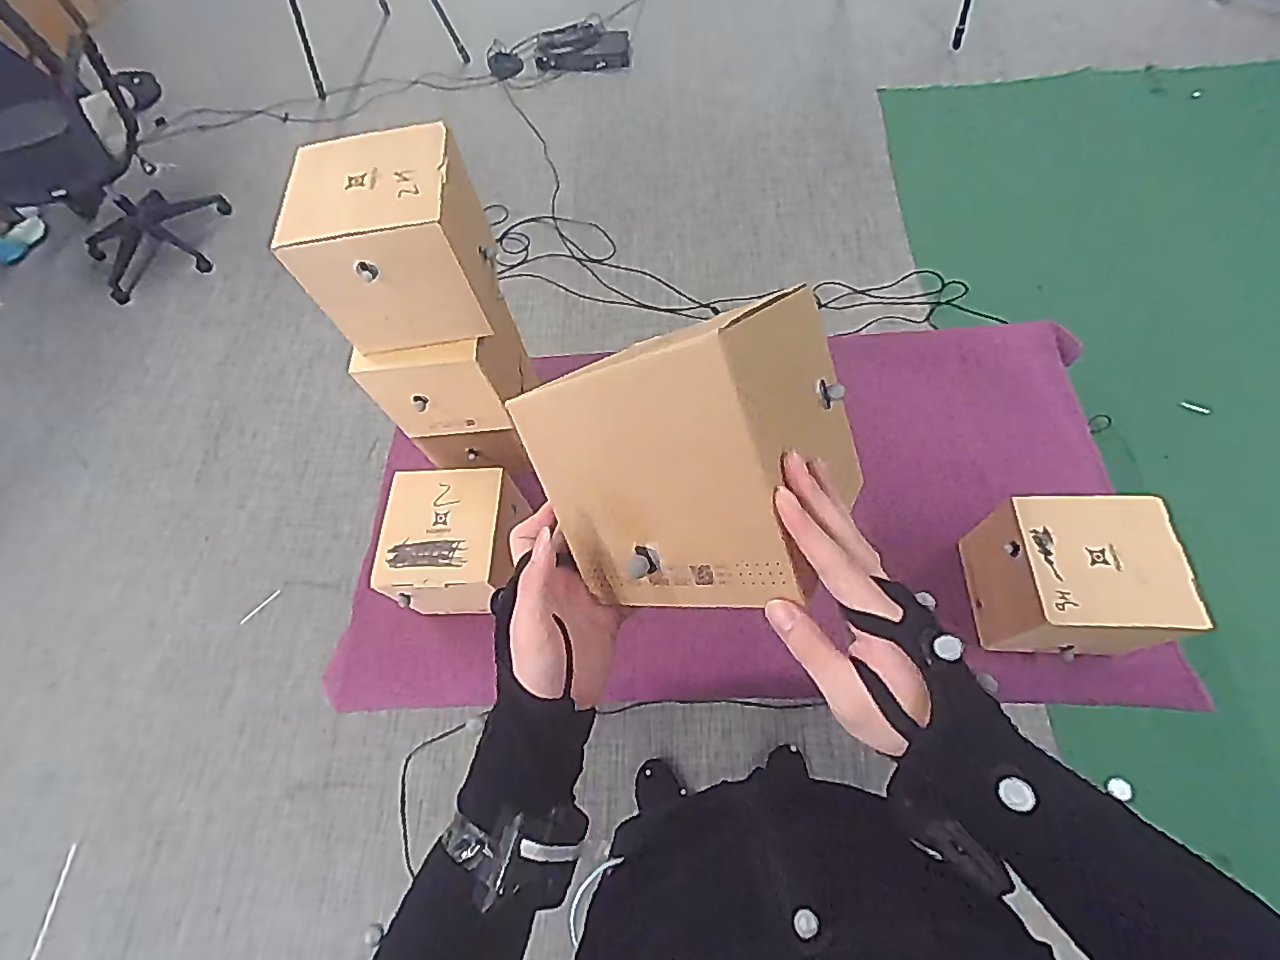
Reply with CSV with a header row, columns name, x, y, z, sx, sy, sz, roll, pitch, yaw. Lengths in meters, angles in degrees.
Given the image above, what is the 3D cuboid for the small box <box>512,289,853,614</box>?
name,x,y,z,sx,sy,sz,roll,pitch,yaw
small box,0.045,-0.022,0.403,0.168,0.176,0.179,-10,19,37

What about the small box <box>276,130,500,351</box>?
name,x,y,z,sx,sy,sz,roll,pitch,yaw
small box,-0.280,-0.274,0.645,0.179,0.176,0.168,-8,64,2

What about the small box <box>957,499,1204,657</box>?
name,x,y,z,sx,sy,sz,roll,pitch,yaw
small box,0.562,0.136,0.722,0.179,0.176,0.168,1,62,6

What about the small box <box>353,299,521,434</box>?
name,x,y,z,sx,sy,sz,roll,pitch,yaw
small box,-0.277,-0.178,0.781,0.168,0.176,0.179,-5,63,3
